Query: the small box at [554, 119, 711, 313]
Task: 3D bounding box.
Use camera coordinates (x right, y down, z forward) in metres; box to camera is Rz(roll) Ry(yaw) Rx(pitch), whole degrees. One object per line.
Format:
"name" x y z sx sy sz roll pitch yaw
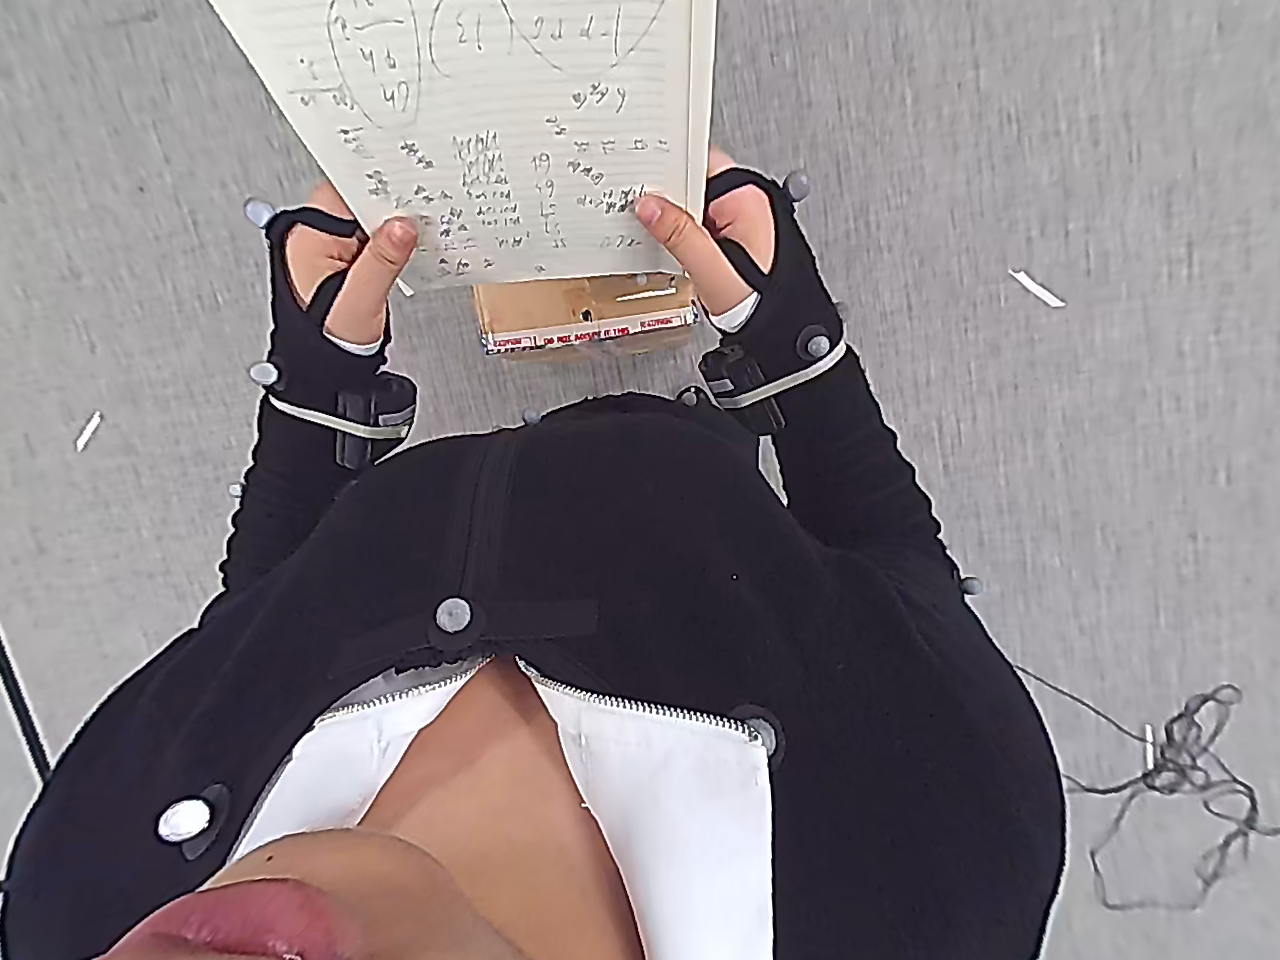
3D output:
"small box" -0.008 -0.328 0.707 0.168 0.176 0.179 -9 100 2

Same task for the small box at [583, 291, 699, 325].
"small box" -0.011 -0.355 0.869 0.179 0.176 0.168 -12 99 3
